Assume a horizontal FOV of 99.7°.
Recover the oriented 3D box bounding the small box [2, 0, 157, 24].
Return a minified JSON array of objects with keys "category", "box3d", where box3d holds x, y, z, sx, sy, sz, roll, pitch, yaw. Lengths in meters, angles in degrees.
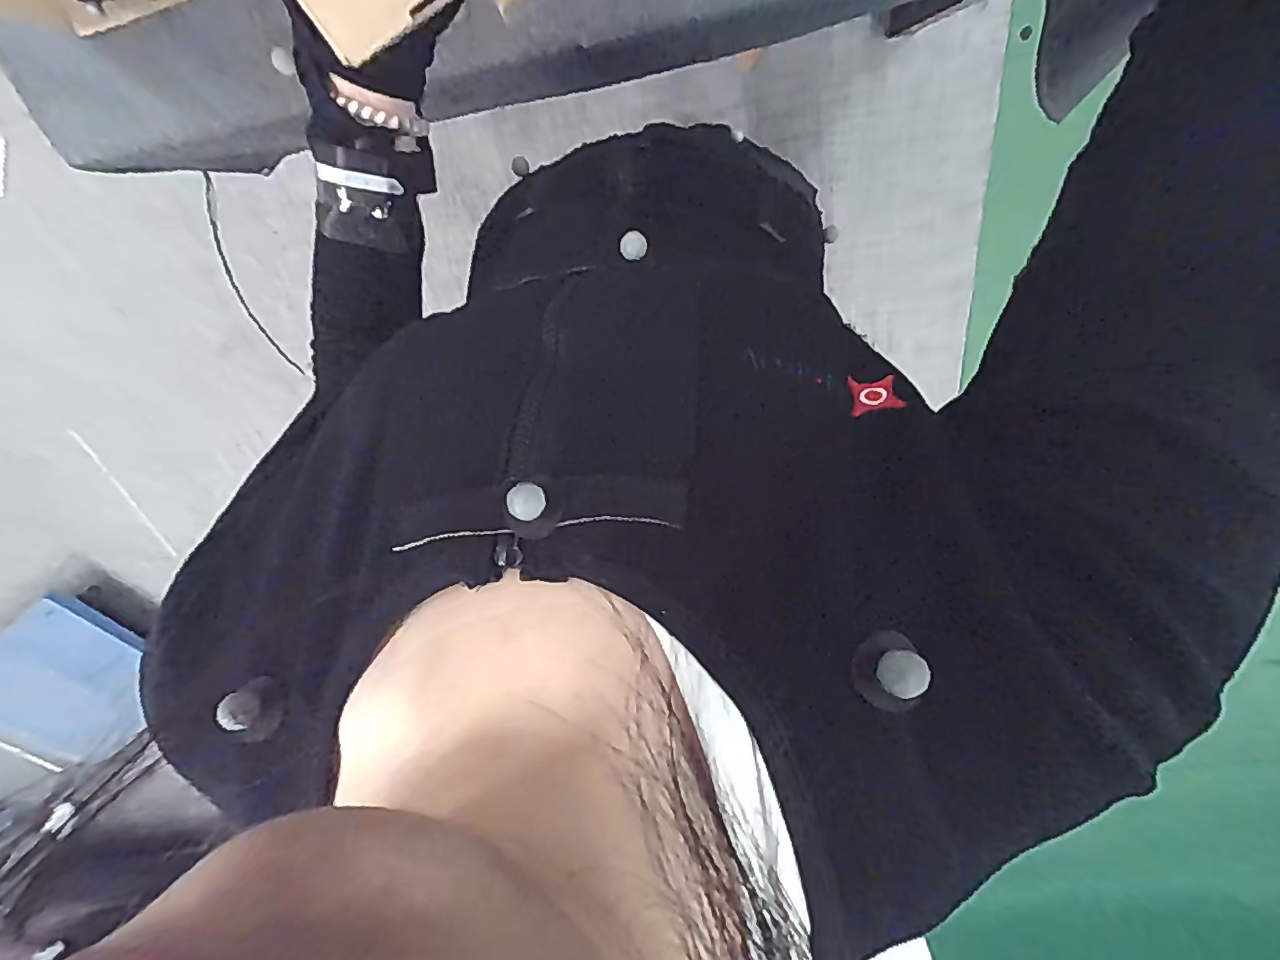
[{"category":"small box","box3d":[-0.493,-0.490,0.407,0.168,0.176,0.179,-11,121,7]}]
